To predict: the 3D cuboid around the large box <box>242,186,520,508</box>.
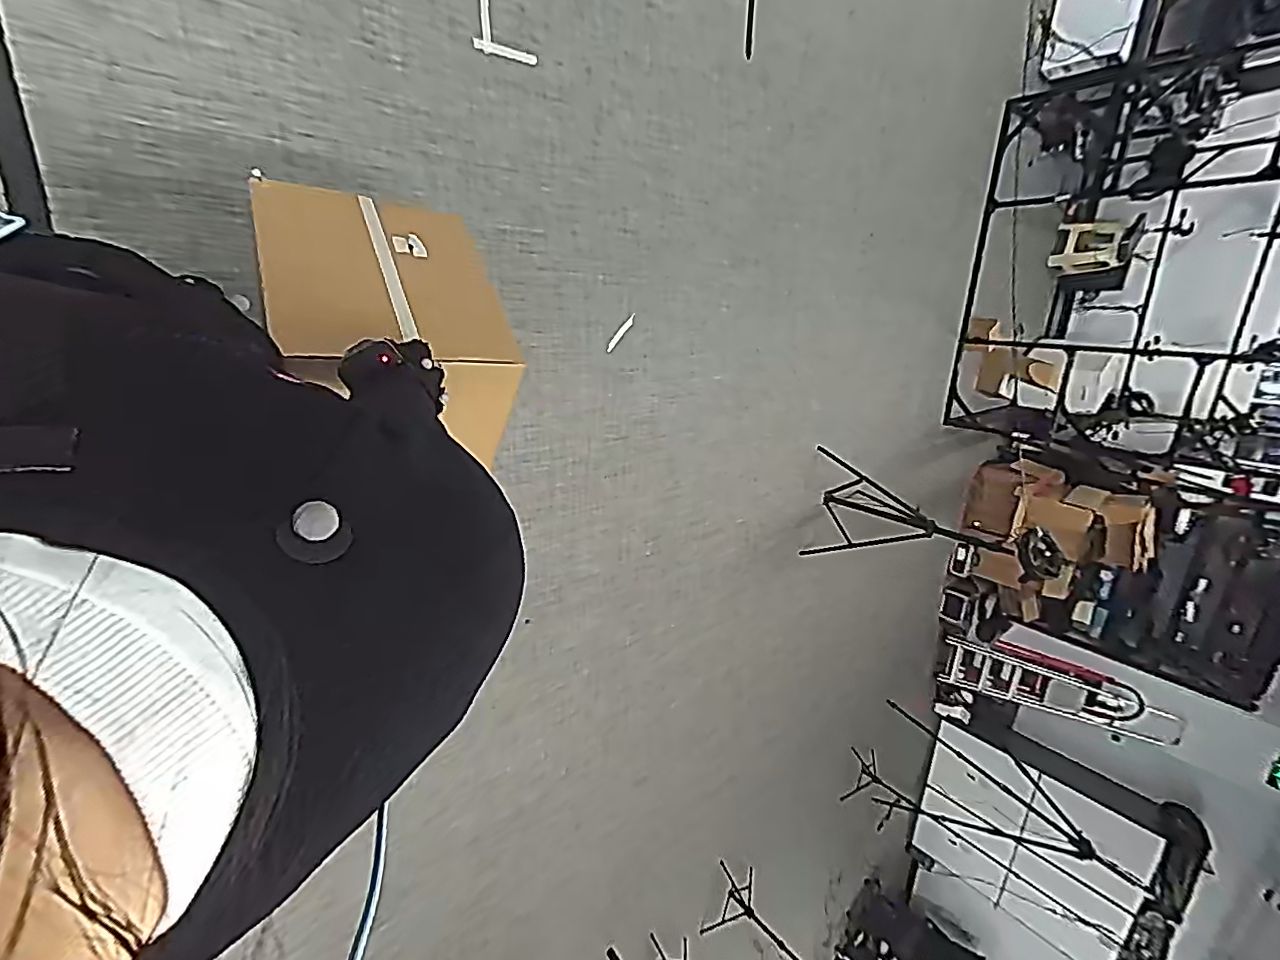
[{"bbox_3d":[-0.446,-0.215,0.910,0.320,0.408,0.320,-7,144,-37],"label":"large box"}]
